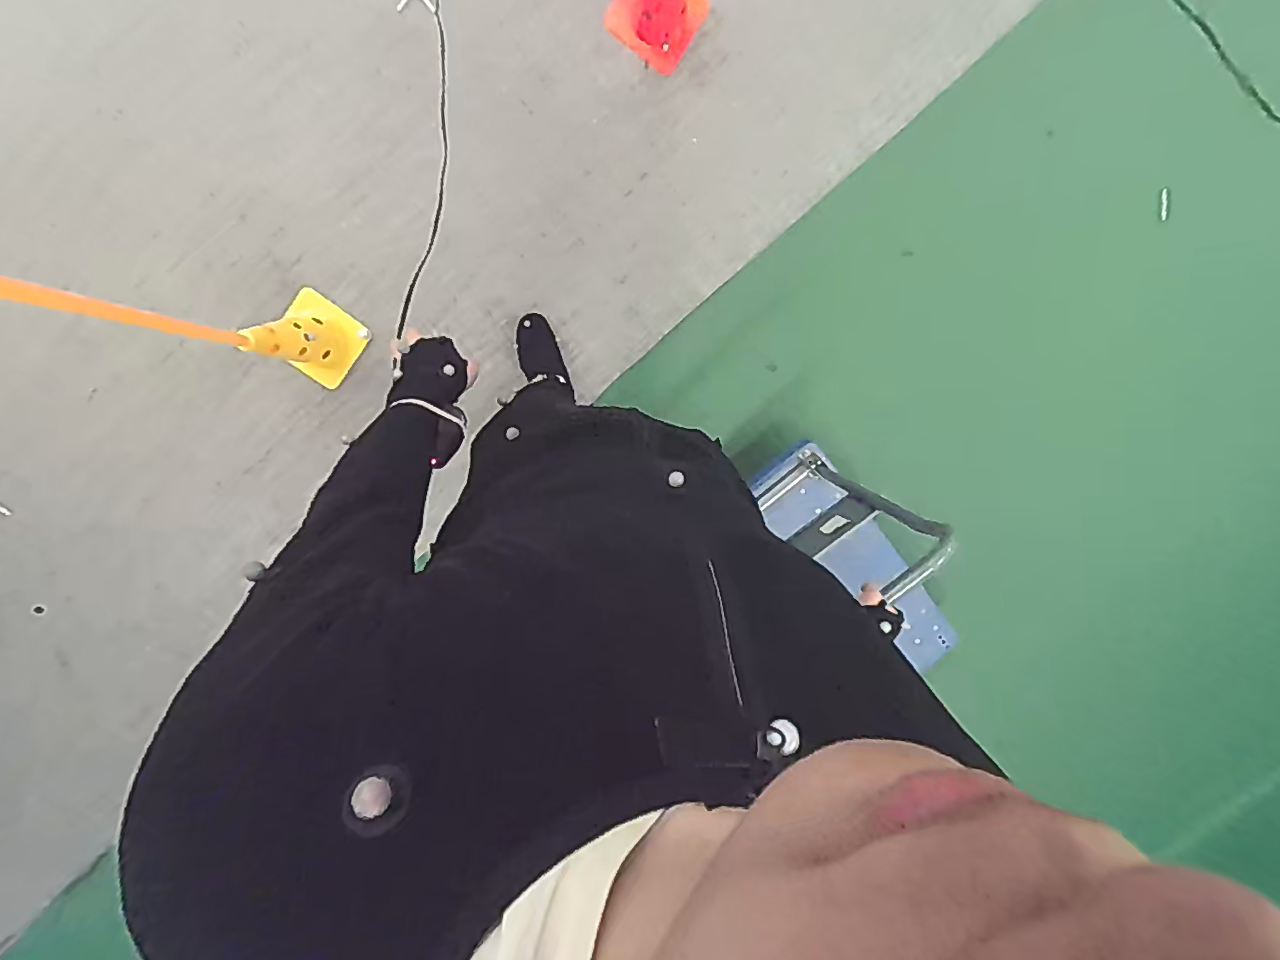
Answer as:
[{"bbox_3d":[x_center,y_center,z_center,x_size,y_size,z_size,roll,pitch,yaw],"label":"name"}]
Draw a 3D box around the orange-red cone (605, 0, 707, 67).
[{"bbox_3d":[0.062,-1.107,1.151,0.198,0.360,0.199,33,98,-15],"label":"orange-red cone"}]
